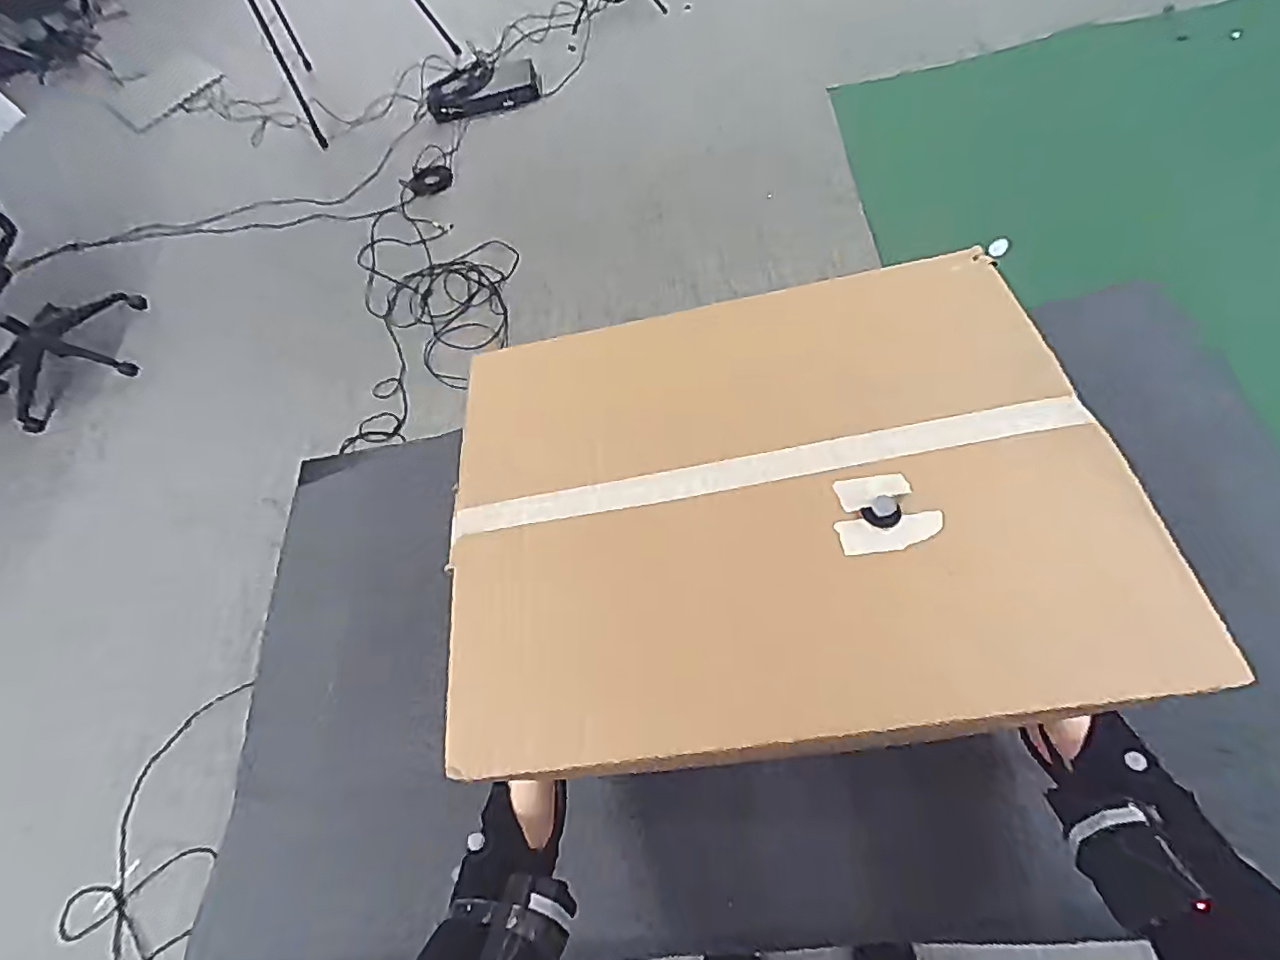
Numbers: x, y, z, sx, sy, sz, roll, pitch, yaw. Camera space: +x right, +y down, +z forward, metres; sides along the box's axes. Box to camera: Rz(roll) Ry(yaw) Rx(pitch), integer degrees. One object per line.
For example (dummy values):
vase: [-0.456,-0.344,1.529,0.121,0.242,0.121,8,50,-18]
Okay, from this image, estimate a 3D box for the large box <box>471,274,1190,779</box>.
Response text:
large box: [0.102,0.076,0.499,0.408,0.320,0.320,-10,61,6]
